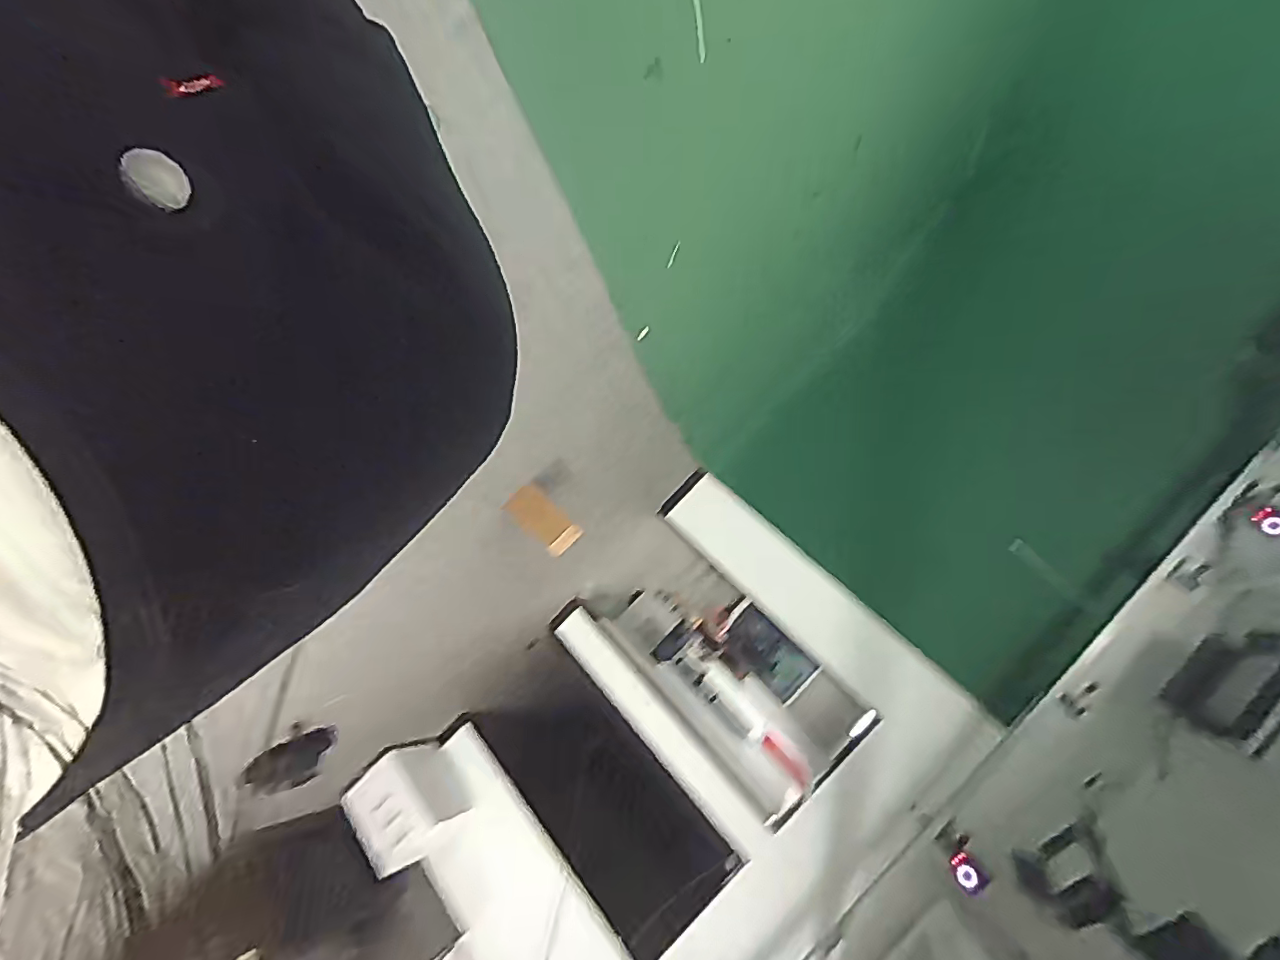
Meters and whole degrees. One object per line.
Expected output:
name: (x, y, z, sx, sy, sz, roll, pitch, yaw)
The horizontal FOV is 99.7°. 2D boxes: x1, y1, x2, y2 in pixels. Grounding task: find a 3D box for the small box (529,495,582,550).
small box: (-0.419, 0.206, 2.641, 0.179, 0.176, 0.168, -44, 157, -6)
